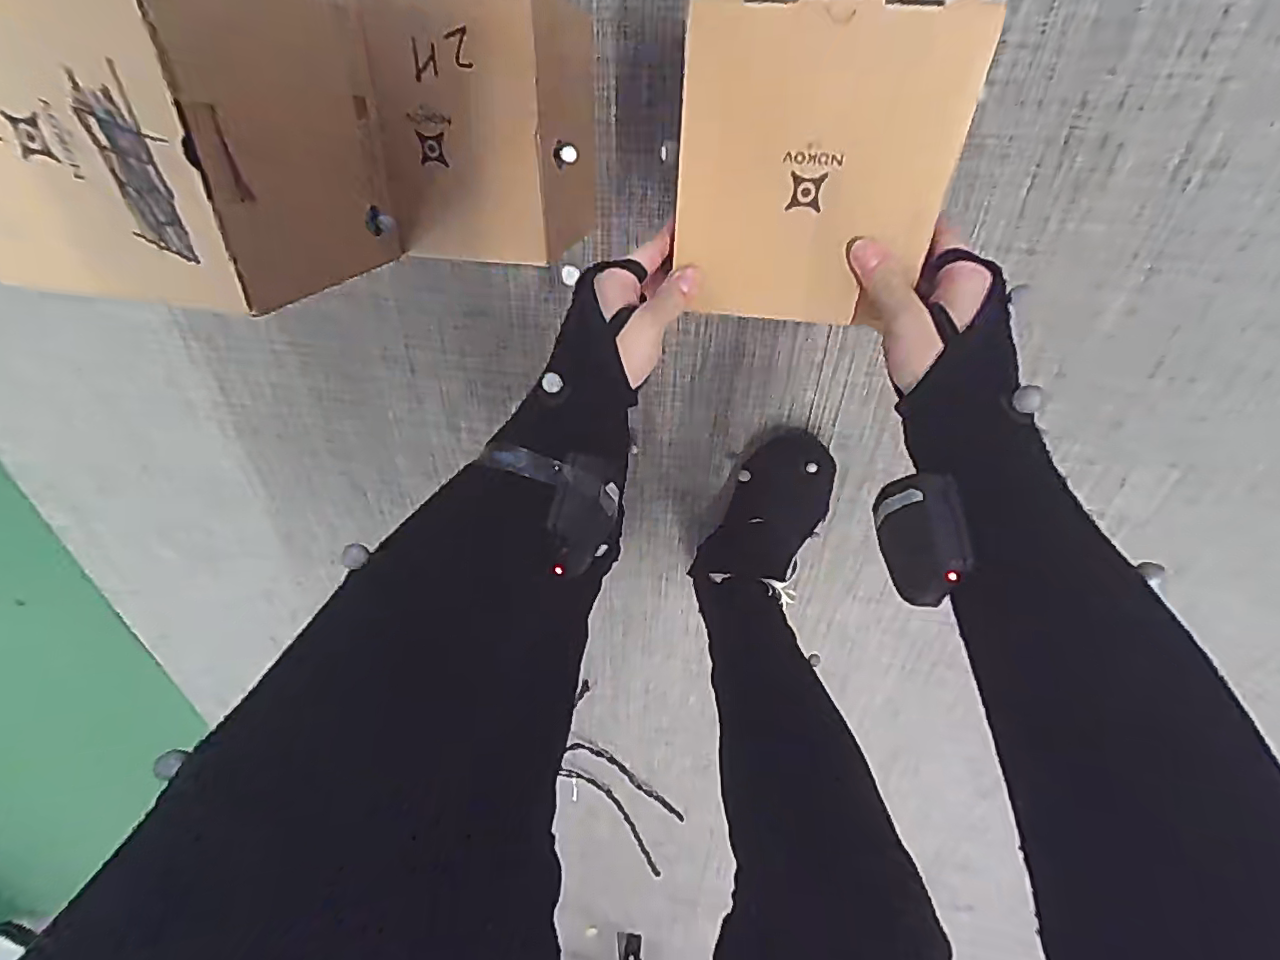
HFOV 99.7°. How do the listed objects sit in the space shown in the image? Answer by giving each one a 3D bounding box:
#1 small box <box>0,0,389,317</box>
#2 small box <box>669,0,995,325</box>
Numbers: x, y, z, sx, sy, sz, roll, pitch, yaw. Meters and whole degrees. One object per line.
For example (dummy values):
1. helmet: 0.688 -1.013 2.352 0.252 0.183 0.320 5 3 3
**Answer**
1. small box: -0.287 -0.219 0.348 0.179 0.176 0.168 9 125 6
2. small box: 0.119 -0.236 0.403 0.168 0.176 0.179 7 127 8
